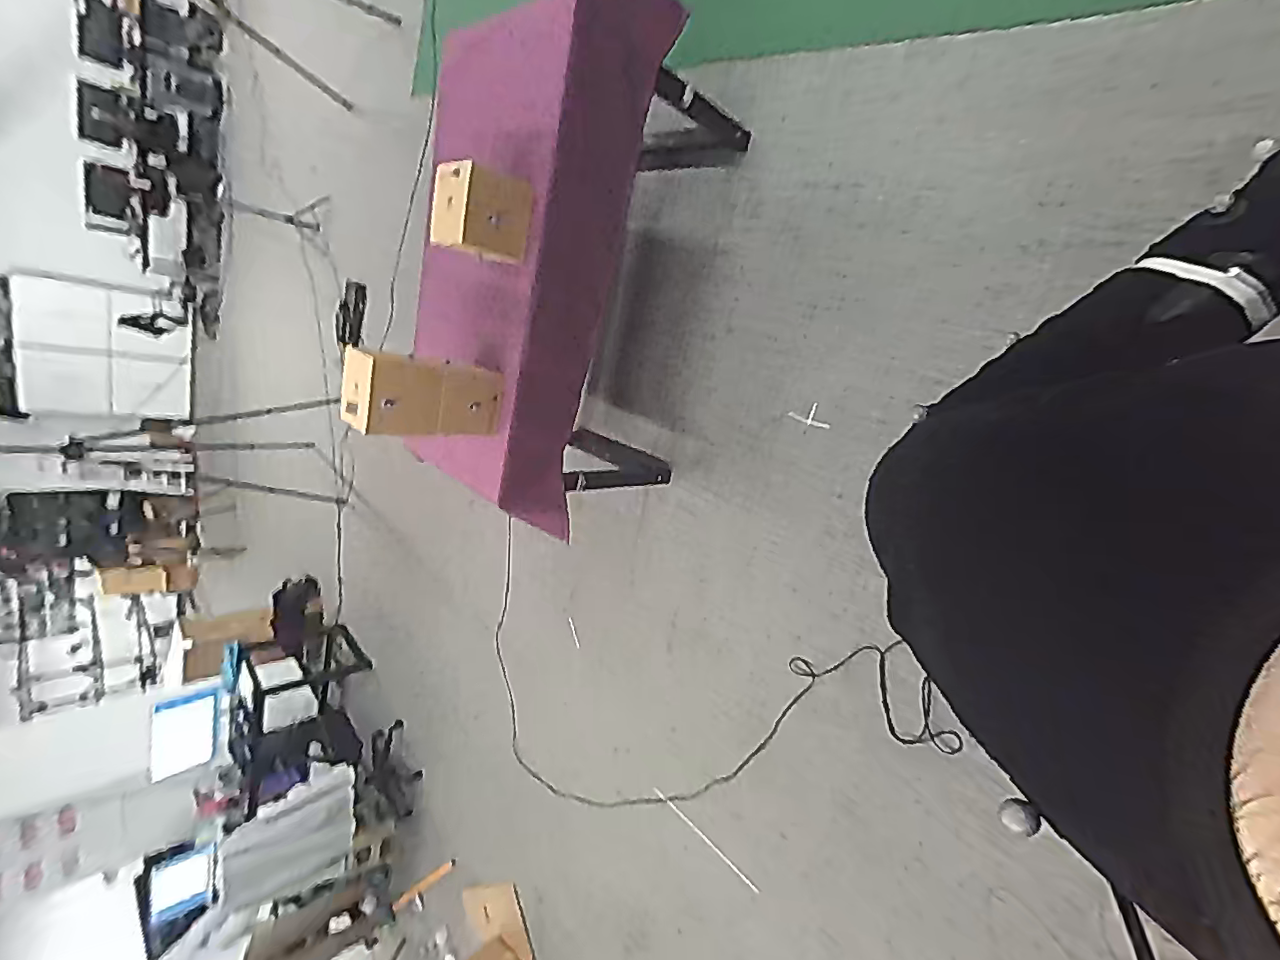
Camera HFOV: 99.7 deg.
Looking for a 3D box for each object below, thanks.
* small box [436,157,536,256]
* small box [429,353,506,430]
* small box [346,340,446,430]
[{"bbox_3d":[-0.369,-0.650,1.303,0.168,0.176,0.179,24,109,40],"label":"small box"},{"bbox_3d":[-0.473,-0.231,1.421,0.179,0.176,0.168,26,109,40],"label":"small box"},{"bbox_3d":[-0.586,-0.224,1.300,0.168,0.176,0.179,25,108,39],"label":"small box"}]
